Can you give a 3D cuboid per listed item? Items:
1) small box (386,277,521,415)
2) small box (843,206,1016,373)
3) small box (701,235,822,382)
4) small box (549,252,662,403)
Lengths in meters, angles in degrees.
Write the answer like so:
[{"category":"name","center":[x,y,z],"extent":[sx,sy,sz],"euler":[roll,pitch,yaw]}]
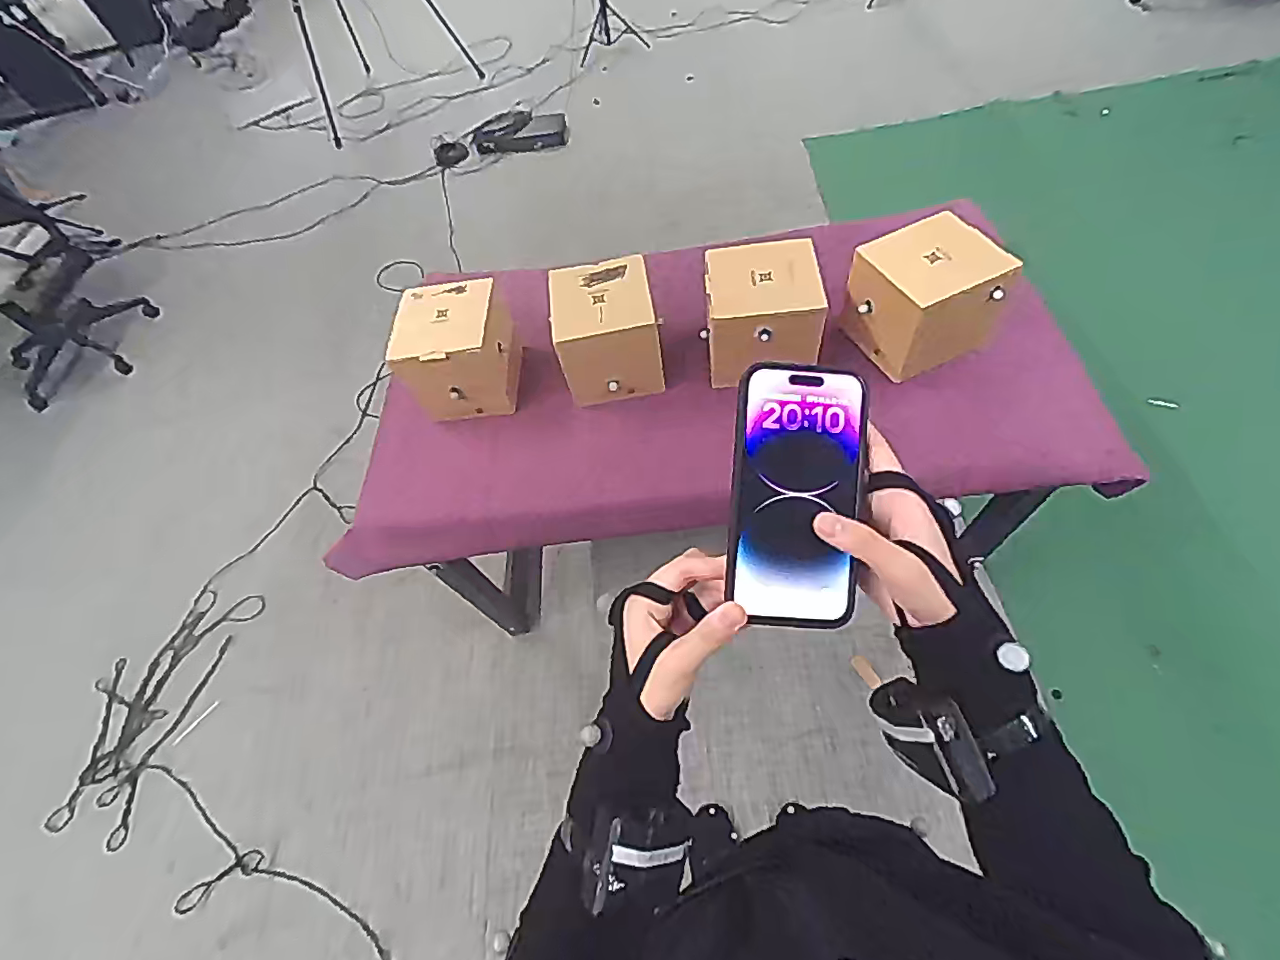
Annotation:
[{"category":"small box","center":[-0.323,-0.231,0.975],"extent":[0.168,0.176,0.179],"euler":[-6,59,6]},{"category":"small box","center":[0.455,-0.306,0.889],"extent":[0.179,0.176,0.168],"euler":[-24,58,-6]},{"category":"small box","center":[0.199,-0.283,0.920],"extent":[0.179,0.176,0.168],"euler":[-4,59,7]},{"category":"small box","center":[-0.058,-0.262,0.949],"extent":[0.168,0.176,0.179],"euler":[-10,59,4]}]
